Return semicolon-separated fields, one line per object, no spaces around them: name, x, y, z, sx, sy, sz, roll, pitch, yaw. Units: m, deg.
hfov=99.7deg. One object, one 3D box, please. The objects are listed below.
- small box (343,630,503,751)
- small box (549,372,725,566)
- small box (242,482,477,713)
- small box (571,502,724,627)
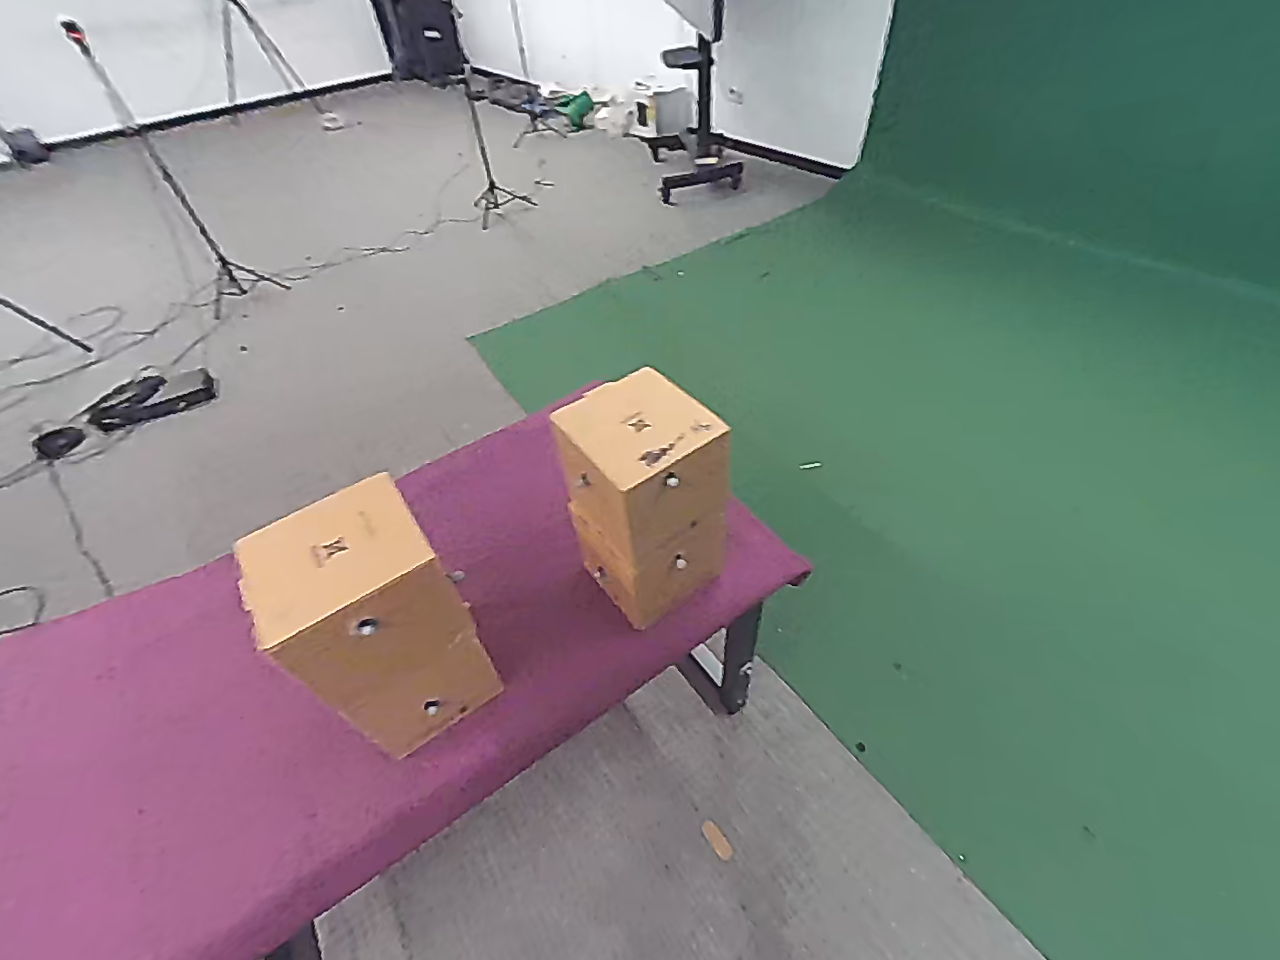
small box;-0.317;0.253;0.766;0.168;0.176;0.179;-30;49;-20
small box;0.000;-0.015;0.751;0.168;0.176;0.179;-32;51;-19
small box;-0.325;0.142;0.647;0.179;0.176;0.168;-30;51;-20
small box;0.014;0.098;0.869;0.179;0.176;0.168;-32;52;-20
